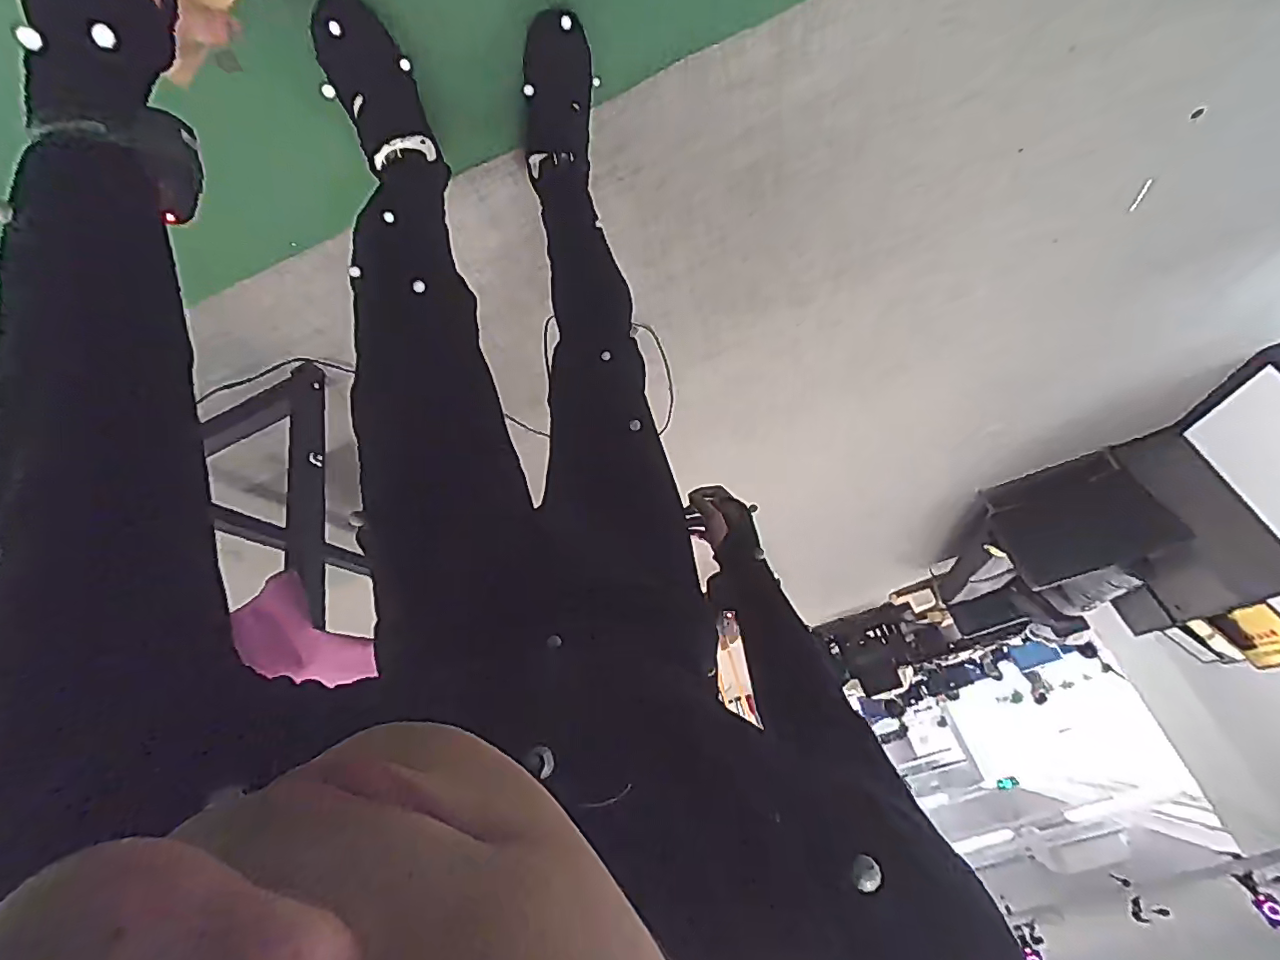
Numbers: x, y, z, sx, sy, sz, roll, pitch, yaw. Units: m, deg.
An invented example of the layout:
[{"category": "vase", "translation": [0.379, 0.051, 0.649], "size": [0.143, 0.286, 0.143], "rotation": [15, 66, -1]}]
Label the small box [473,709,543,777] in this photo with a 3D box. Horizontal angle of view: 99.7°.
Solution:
[{"category": "small box", "translation": [-0.459, 0.897, 1.849], "size": [0.179, 0.176, 0.168], "rotation": [-25, 151, 14]}]

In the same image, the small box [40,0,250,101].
[{"category": "small box", "translation": [-0.420, -0.480, 0.448], "size": [0.179, 0.176, 0.168], "rotation": [-37, 142, 21]}]
